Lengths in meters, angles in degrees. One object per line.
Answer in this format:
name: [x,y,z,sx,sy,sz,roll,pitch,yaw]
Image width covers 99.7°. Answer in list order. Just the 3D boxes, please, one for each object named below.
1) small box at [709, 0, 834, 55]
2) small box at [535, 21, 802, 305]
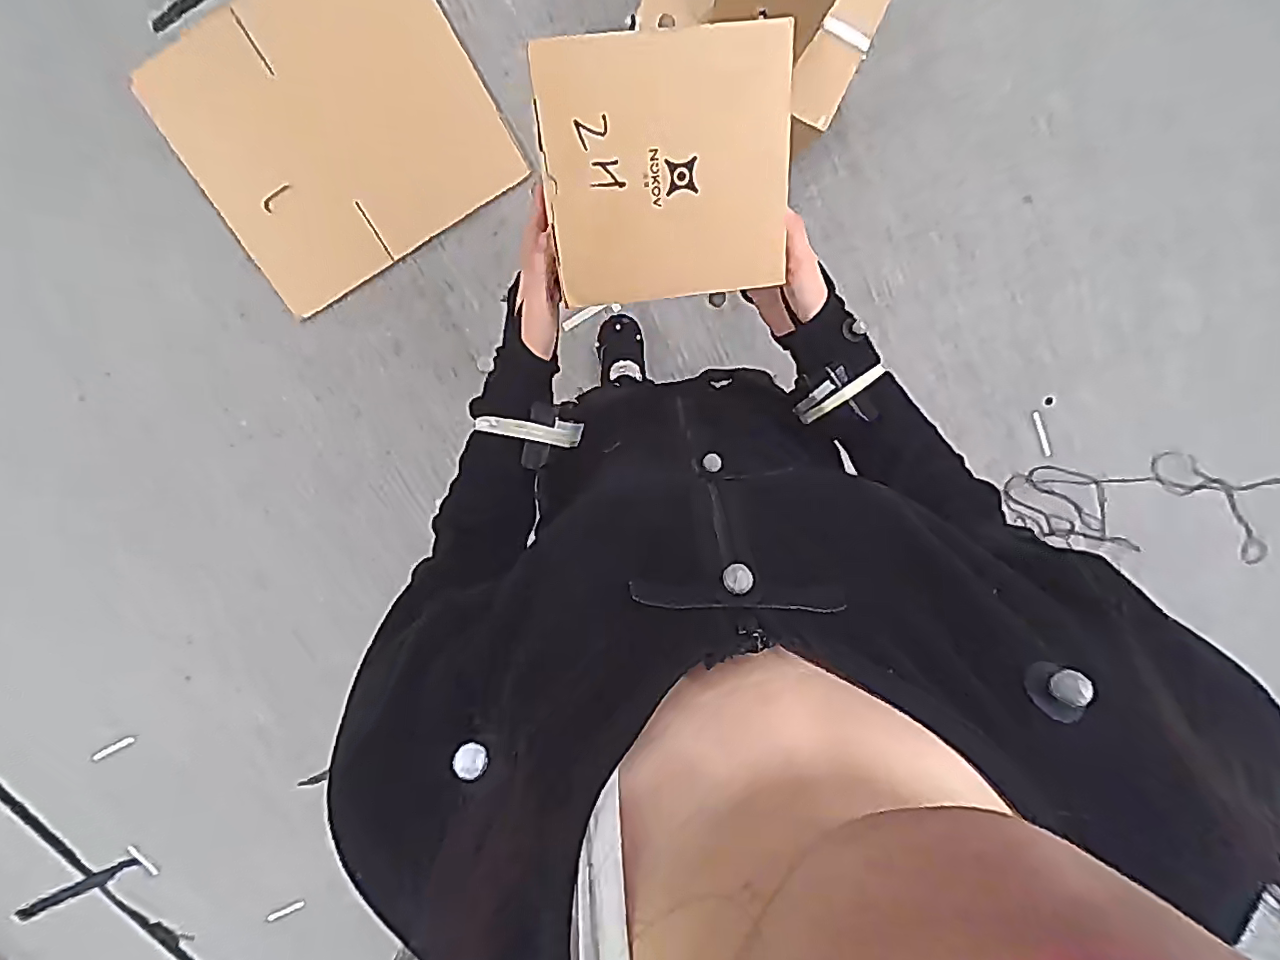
small box: [0.229,-0.824,0.886,0.179,0.176,0.168,20,105,-8]
small box: [0.015,-0.250,0.448,0.179,0.176,0.168,-7,117,-4]
